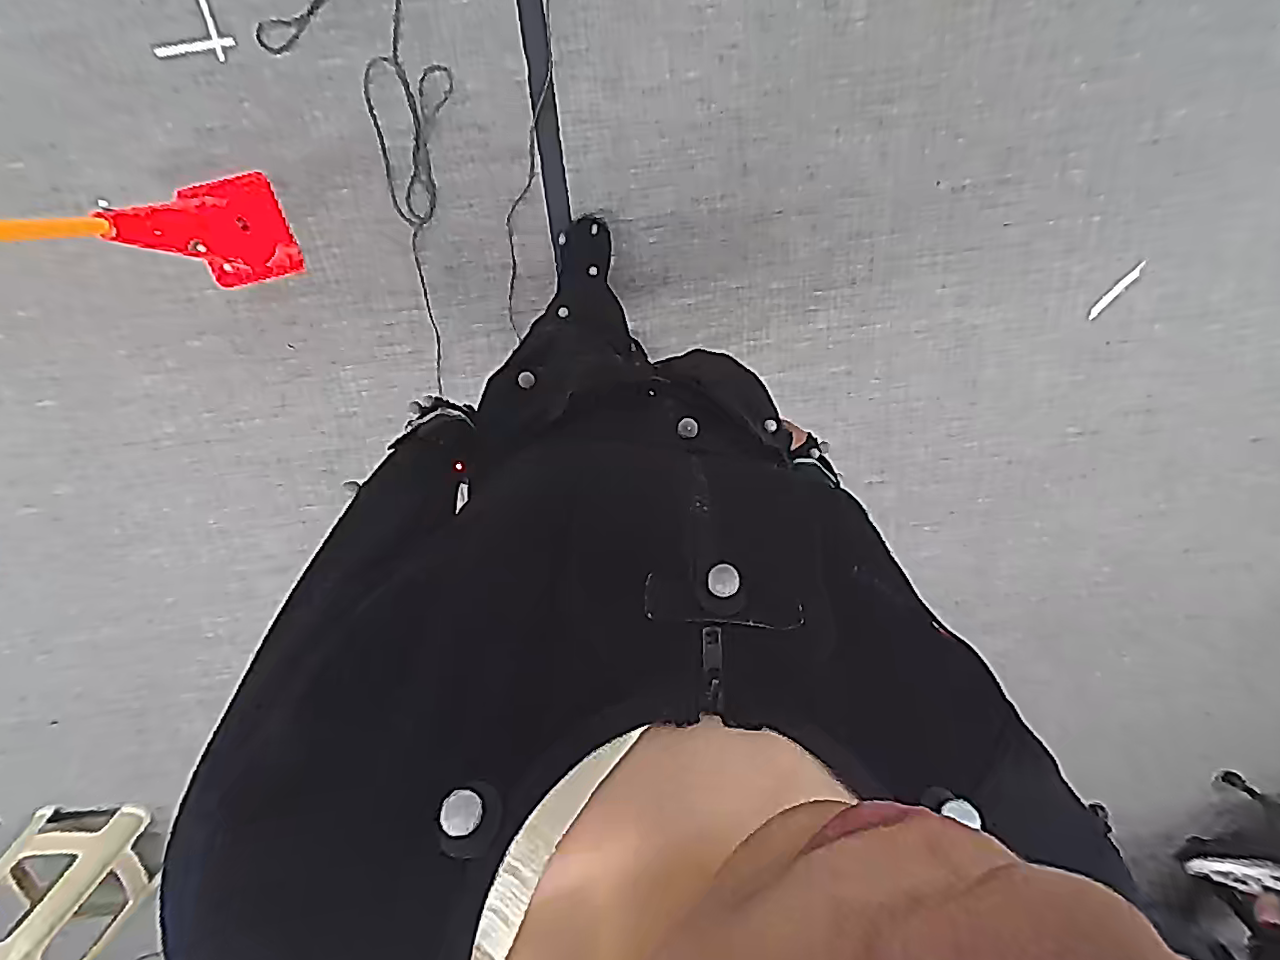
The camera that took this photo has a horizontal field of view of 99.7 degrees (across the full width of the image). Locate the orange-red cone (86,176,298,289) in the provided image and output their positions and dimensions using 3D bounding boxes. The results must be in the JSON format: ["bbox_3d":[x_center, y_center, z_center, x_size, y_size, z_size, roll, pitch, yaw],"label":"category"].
[{"bbox_3d":[-0.836,-0.451,0.983,0.199,0.360,0.198,-12,114,0],"label":"orange-red cone"}]
